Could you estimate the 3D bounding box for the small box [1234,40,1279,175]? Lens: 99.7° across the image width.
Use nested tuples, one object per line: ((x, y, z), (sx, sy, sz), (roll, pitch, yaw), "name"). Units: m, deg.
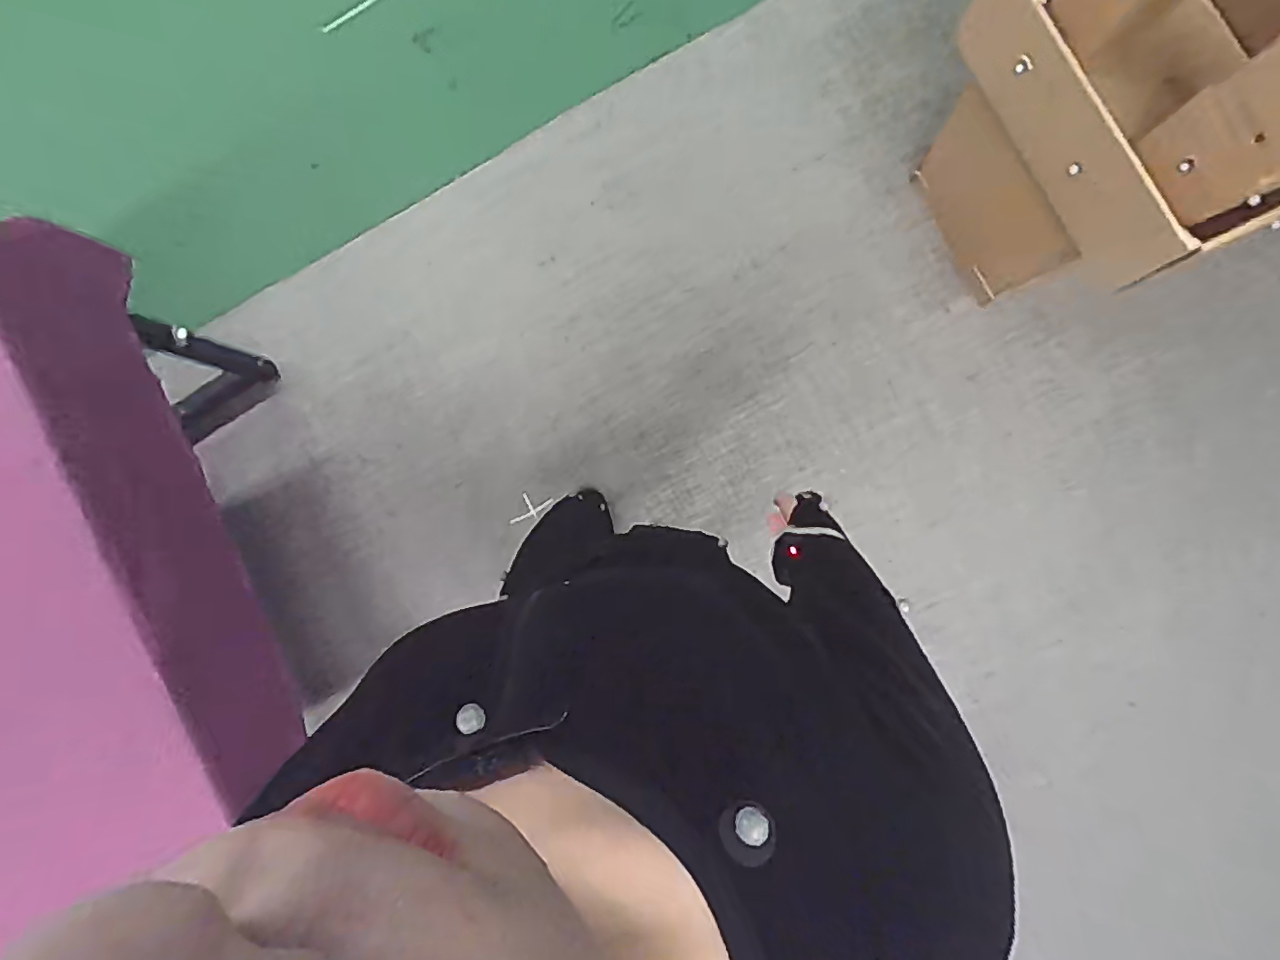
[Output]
((0.969, -0.549, 0.720), (0.179, 0.176, 0.168), (-21, 86, 4), "small box")
